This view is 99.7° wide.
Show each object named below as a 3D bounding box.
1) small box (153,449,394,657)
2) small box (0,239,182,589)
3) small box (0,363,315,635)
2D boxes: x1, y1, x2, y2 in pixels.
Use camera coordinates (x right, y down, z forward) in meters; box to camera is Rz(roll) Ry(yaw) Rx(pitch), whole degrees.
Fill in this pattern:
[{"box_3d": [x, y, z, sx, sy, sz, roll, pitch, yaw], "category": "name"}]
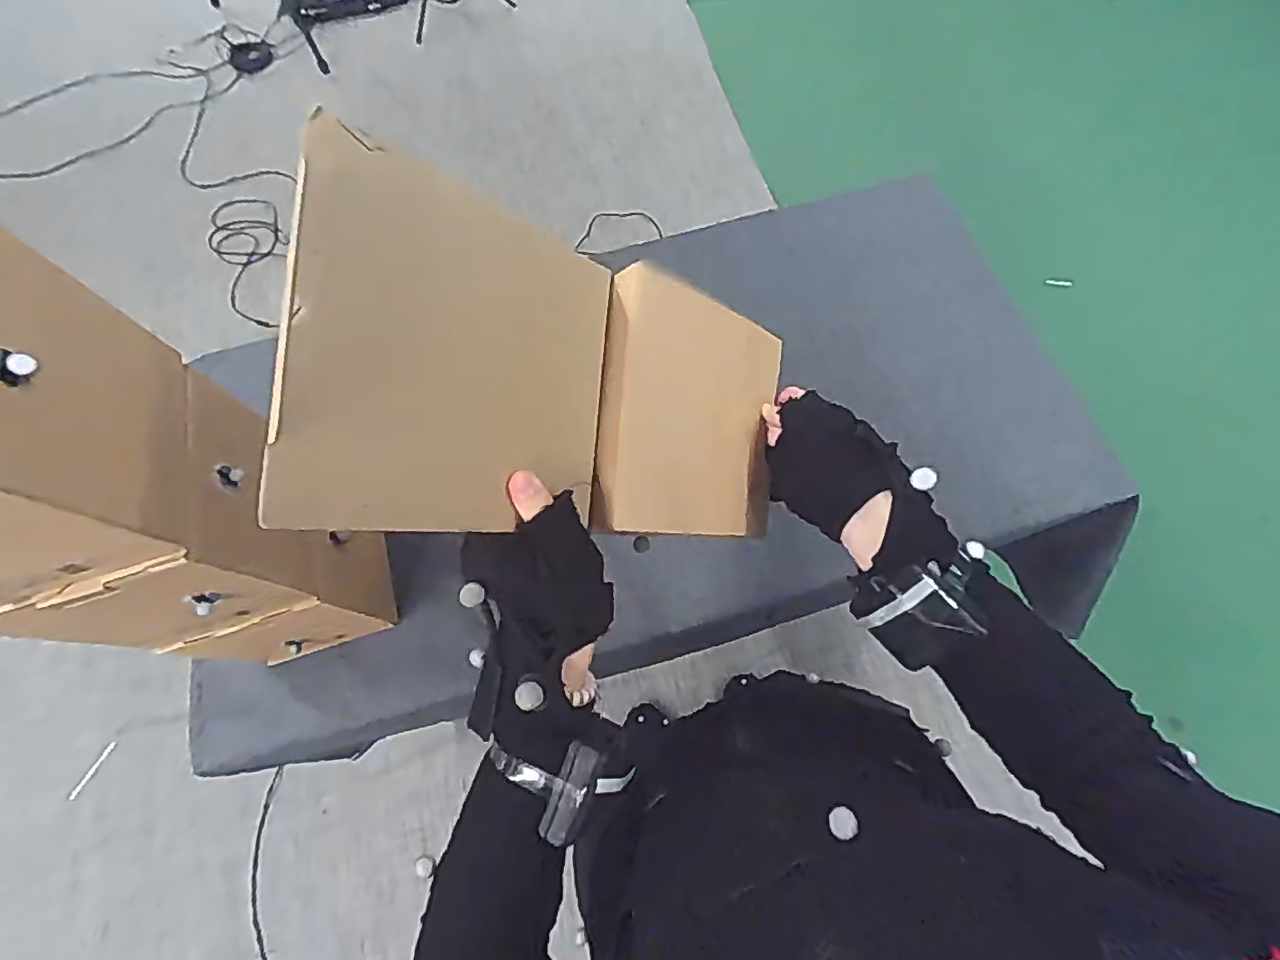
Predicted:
[{"box_3d": [-0.412, 0.094, 0.631, 0.168, 0.176, 0.179, -18, 69, -4], "category": "small box"}, {"box_3d": [-0.427, -0.036, 0.331, 0.168, 0.176, 0.179, -18, 69, -6], "category": "small box"}, {"box_3d": [-0.418, 0.031, 0.481, 0.168, 0.176, 0.179, -16, 69, -5], "category": "small box"}]
